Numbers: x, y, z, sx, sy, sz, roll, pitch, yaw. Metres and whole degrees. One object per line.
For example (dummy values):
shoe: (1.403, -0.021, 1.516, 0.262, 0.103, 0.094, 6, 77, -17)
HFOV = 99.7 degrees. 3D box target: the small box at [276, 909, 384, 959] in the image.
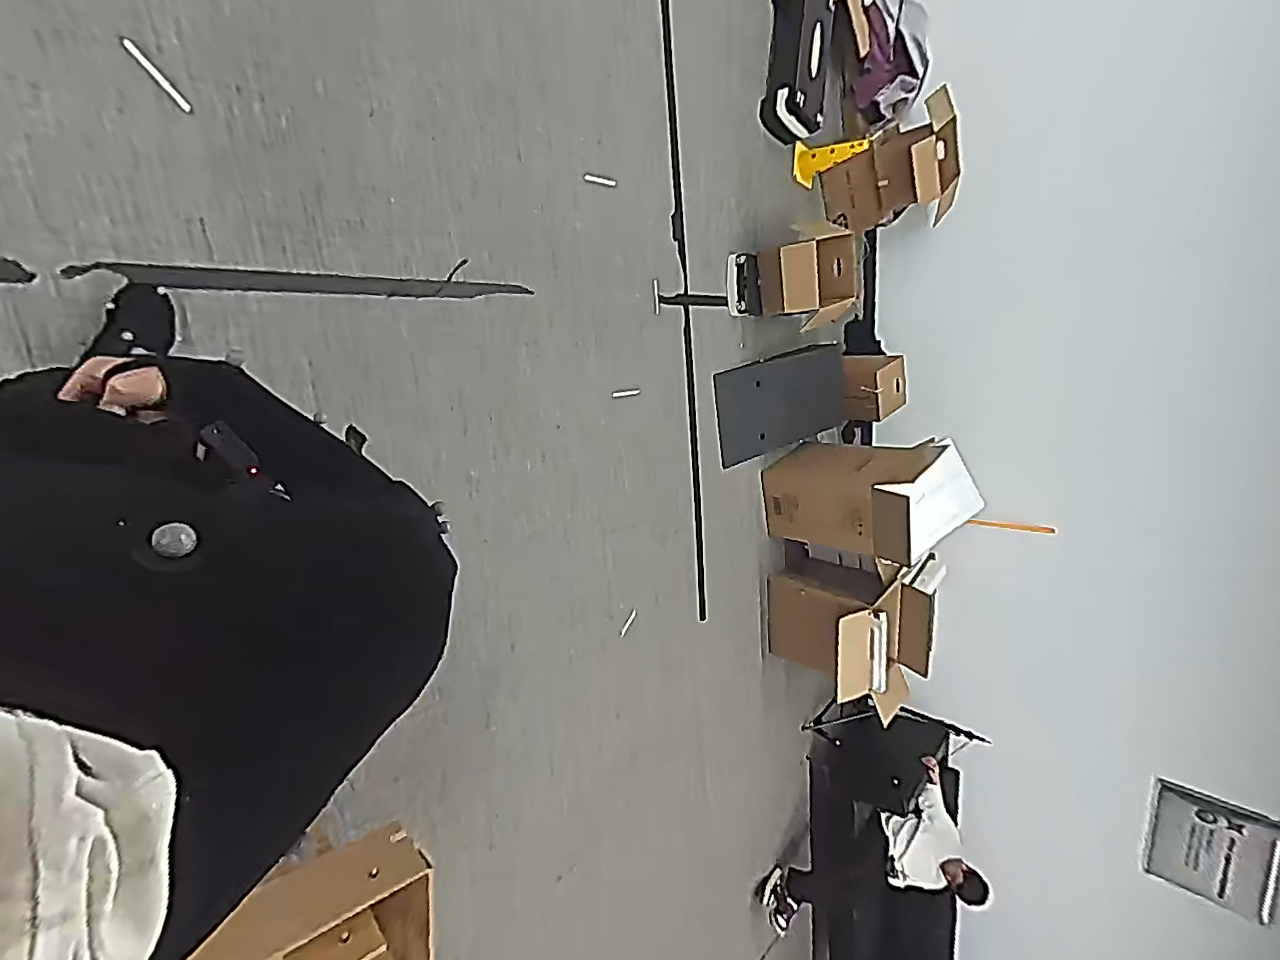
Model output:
small box: (-0.656, 1.067, 1.147, 0.168, 0.176, 0.179, -7, 102, -44)
